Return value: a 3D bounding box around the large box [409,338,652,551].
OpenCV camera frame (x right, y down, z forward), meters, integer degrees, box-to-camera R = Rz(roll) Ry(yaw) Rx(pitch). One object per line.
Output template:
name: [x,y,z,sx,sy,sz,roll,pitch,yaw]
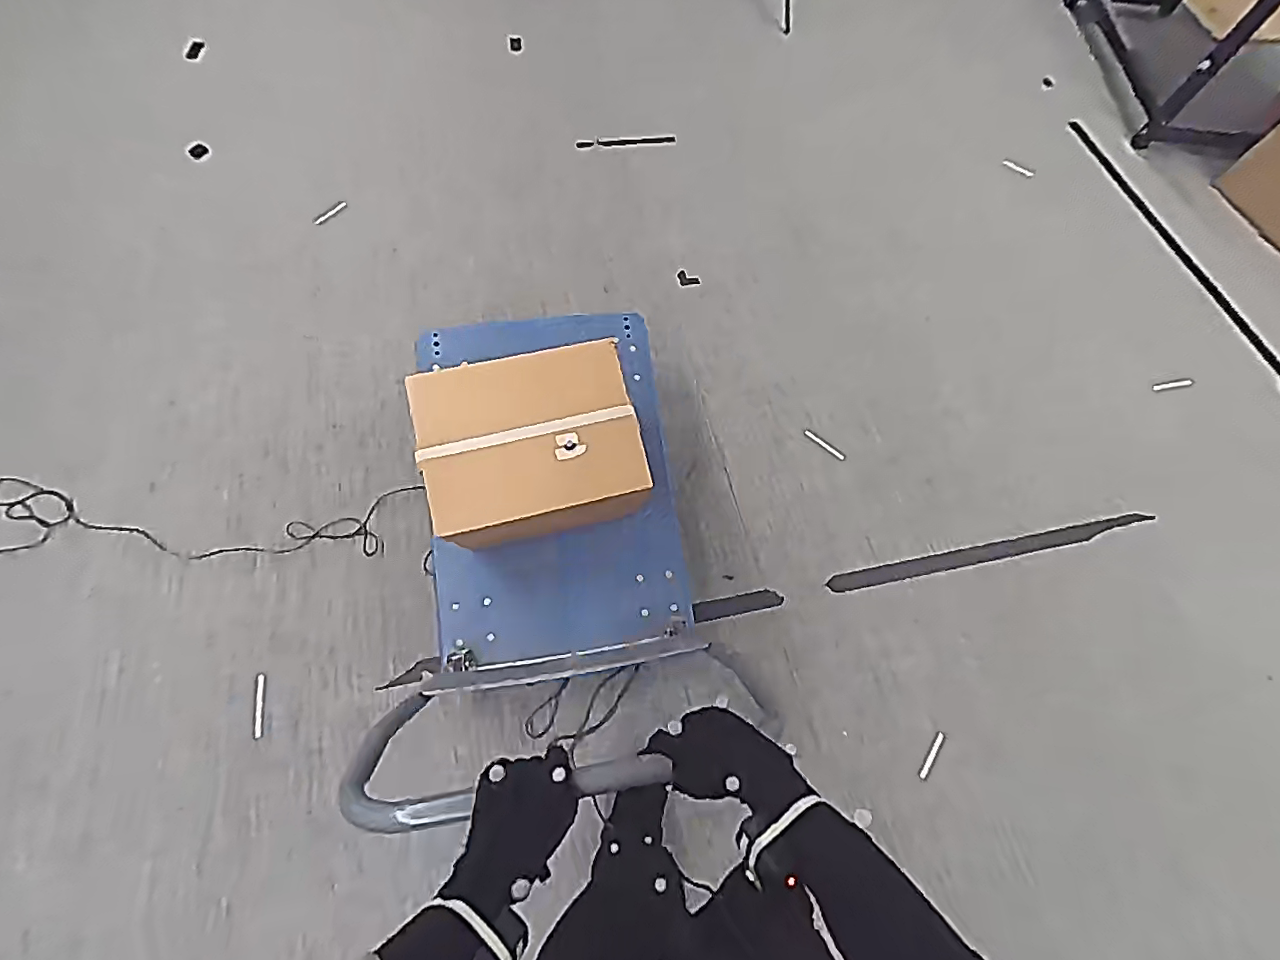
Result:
large box: [-0.224,-0.059,1.165,0.408,0.320,0.320,-14,80,-10]
